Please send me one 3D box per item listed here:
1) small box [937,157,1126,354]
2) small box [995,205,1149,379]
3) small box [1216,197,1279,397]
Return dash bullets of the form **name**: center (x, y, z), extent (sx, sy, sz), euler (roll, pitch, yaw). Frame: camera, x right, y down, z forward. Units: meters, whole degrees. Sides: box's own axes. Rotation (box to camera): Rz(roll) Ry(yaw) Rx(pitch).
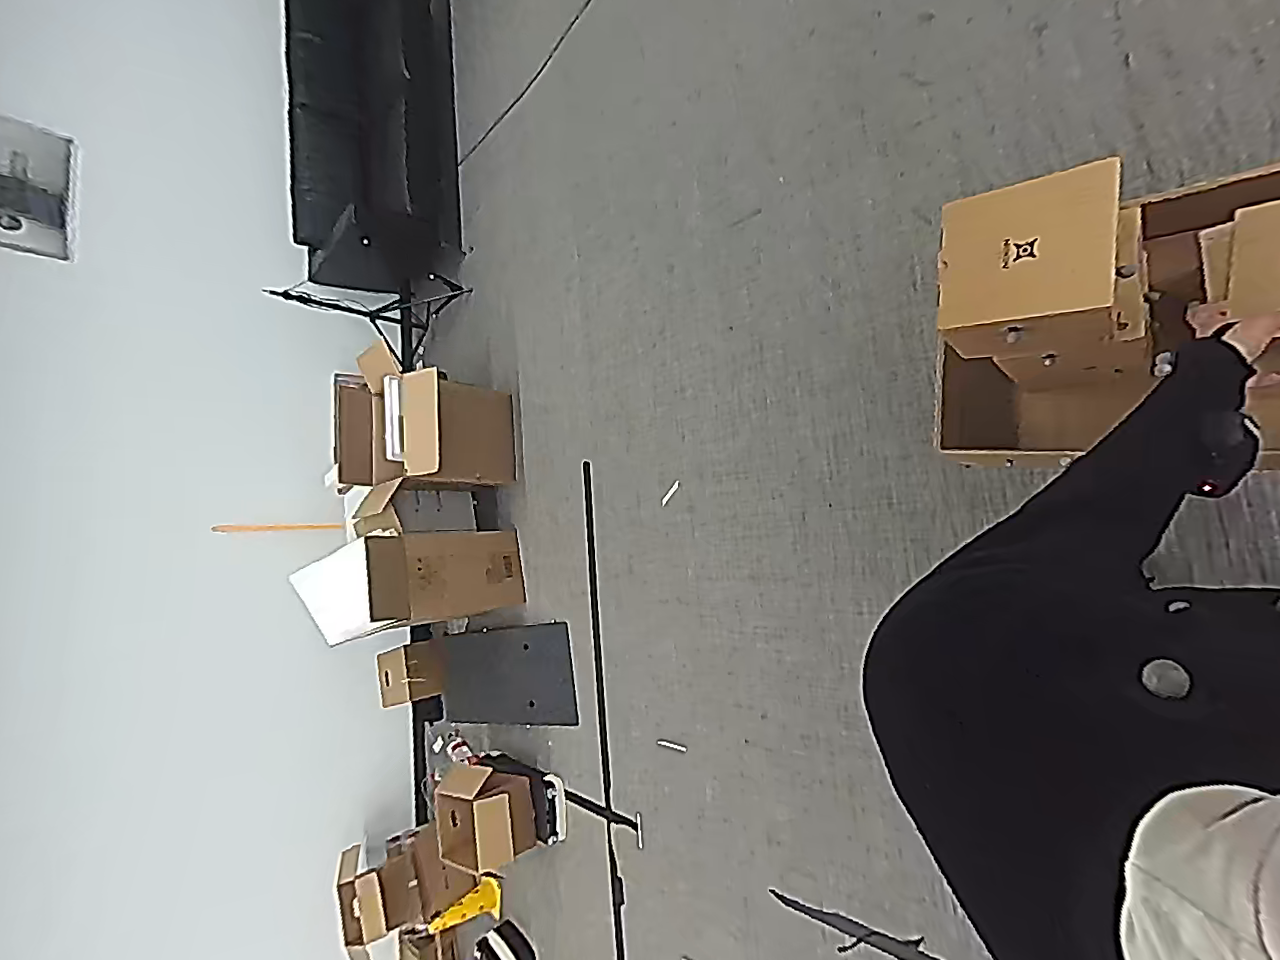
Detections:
- **small box**: center (0.501, -0.267, 0.691), extent (0.179, 0.176, 0.168), euler (2, 89, 44)
- **small box**: center (0.631, -0.260, 0.793), extent (0.168, 0.176, 0.179), euler (-1, 86, 43)
- **small box**: center (0.753, -0.195, 0.579), extent (0.179, 0.176, 0.168), euler (8, 80, 46)
